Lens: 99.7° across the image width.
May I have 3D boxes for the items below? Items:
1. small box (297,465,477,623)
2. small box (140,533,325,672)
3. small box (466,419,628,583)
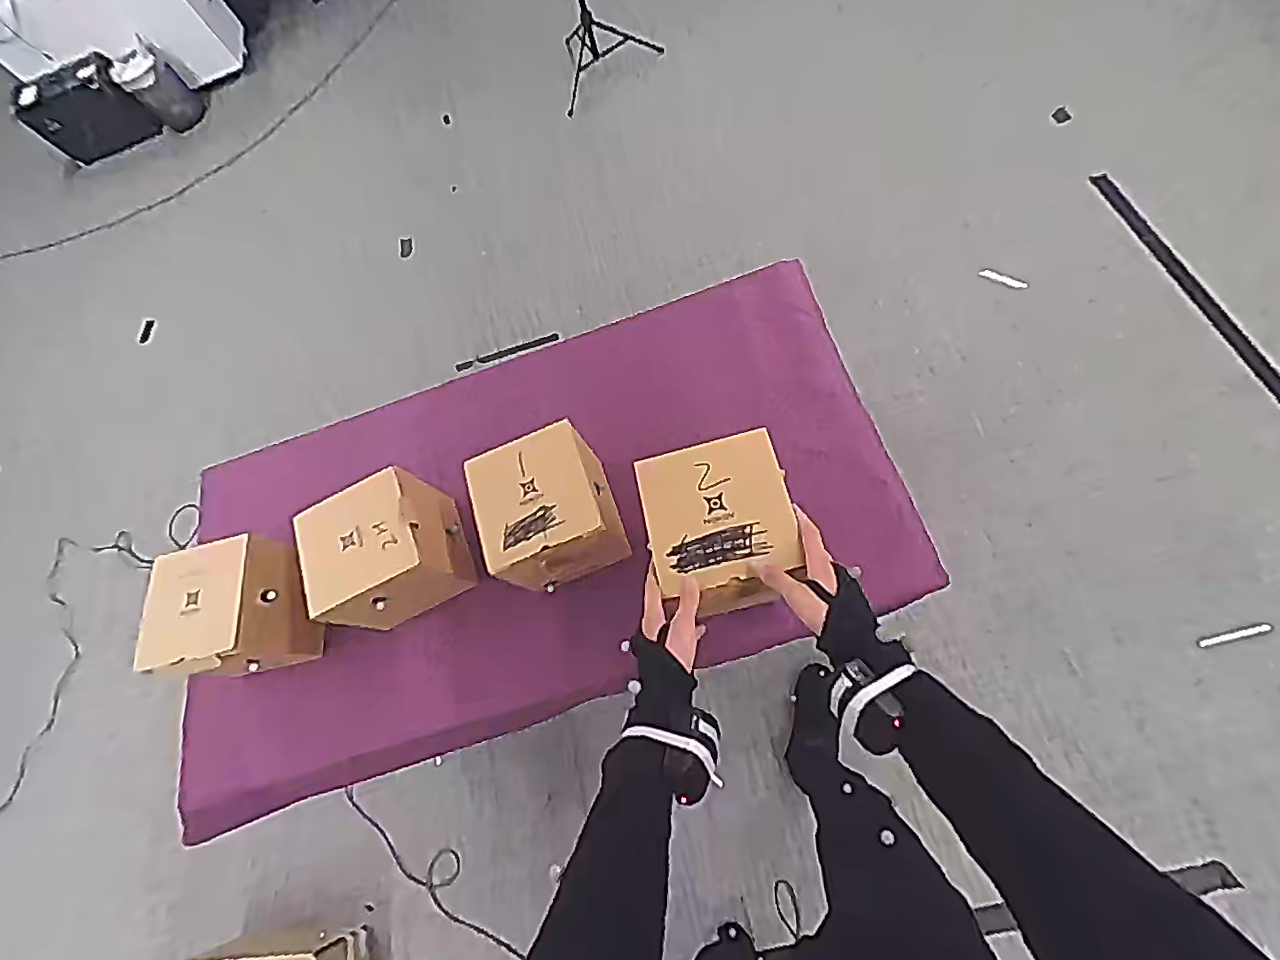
[{"bbox_3d":[-0.385,0.109,0.840,0.179,0.176,0.168,-26,67,2],"label":"small box"},{"bbox_3d":[-0.628,0.203,0.861,0.168,0.176,0.179,-13,67,7],"label":"small box"},{"bbox_3d":[-0.130,0.043,0.807,0.168,0.176,0.179,-23,66,4],"label":"small box"}]
